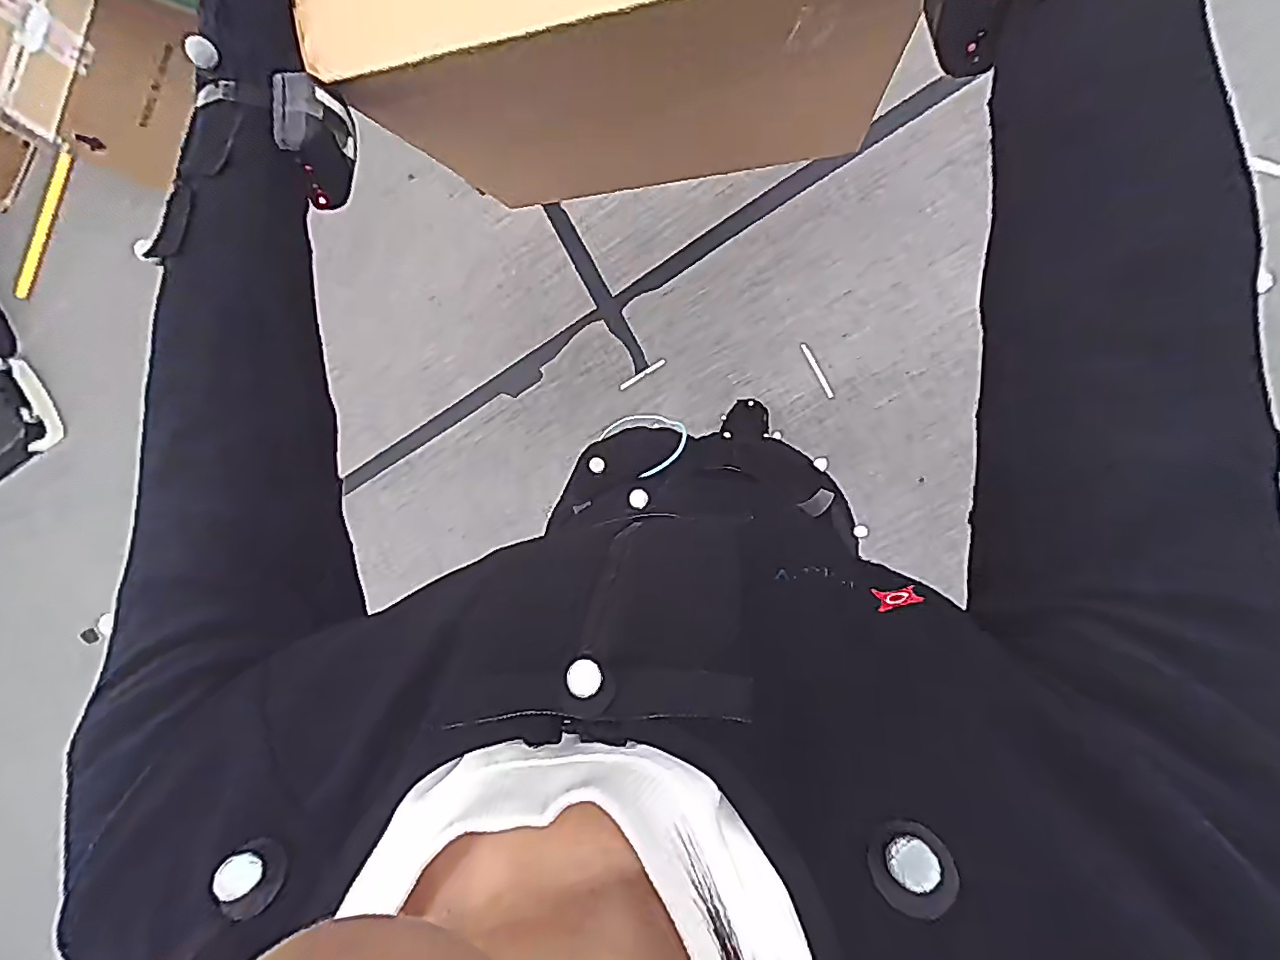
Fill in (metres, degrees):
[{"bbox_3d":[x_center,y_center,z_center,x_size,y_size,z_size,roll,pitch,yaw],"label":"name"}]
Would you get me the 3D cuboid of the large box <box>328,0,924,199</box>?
[{"bbox_3d":[-0.001,-0.471,0.448,0.408,0.320,0.320,-3,102,12],"label":"large box"}]
